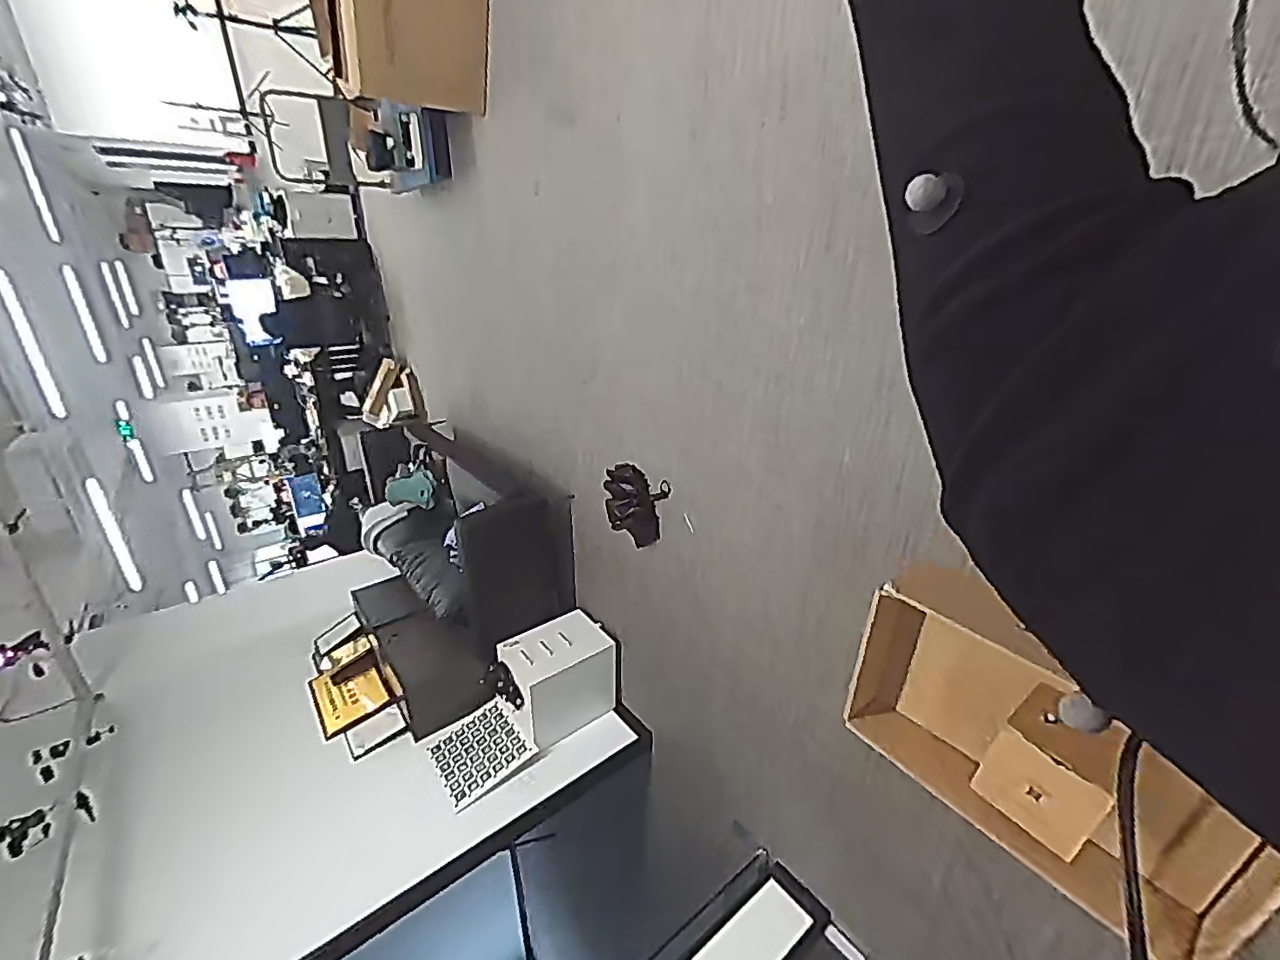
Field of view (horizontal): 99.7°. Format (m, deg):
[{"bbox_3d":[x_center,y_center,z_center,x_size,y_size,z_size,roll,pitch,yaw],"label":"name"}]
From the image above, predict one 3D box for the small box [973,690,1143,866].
[{"bbox_3d":[0.733,0.509,0.949,0.168,0.176,0.179,34,132,46],"label":"small box"}]
